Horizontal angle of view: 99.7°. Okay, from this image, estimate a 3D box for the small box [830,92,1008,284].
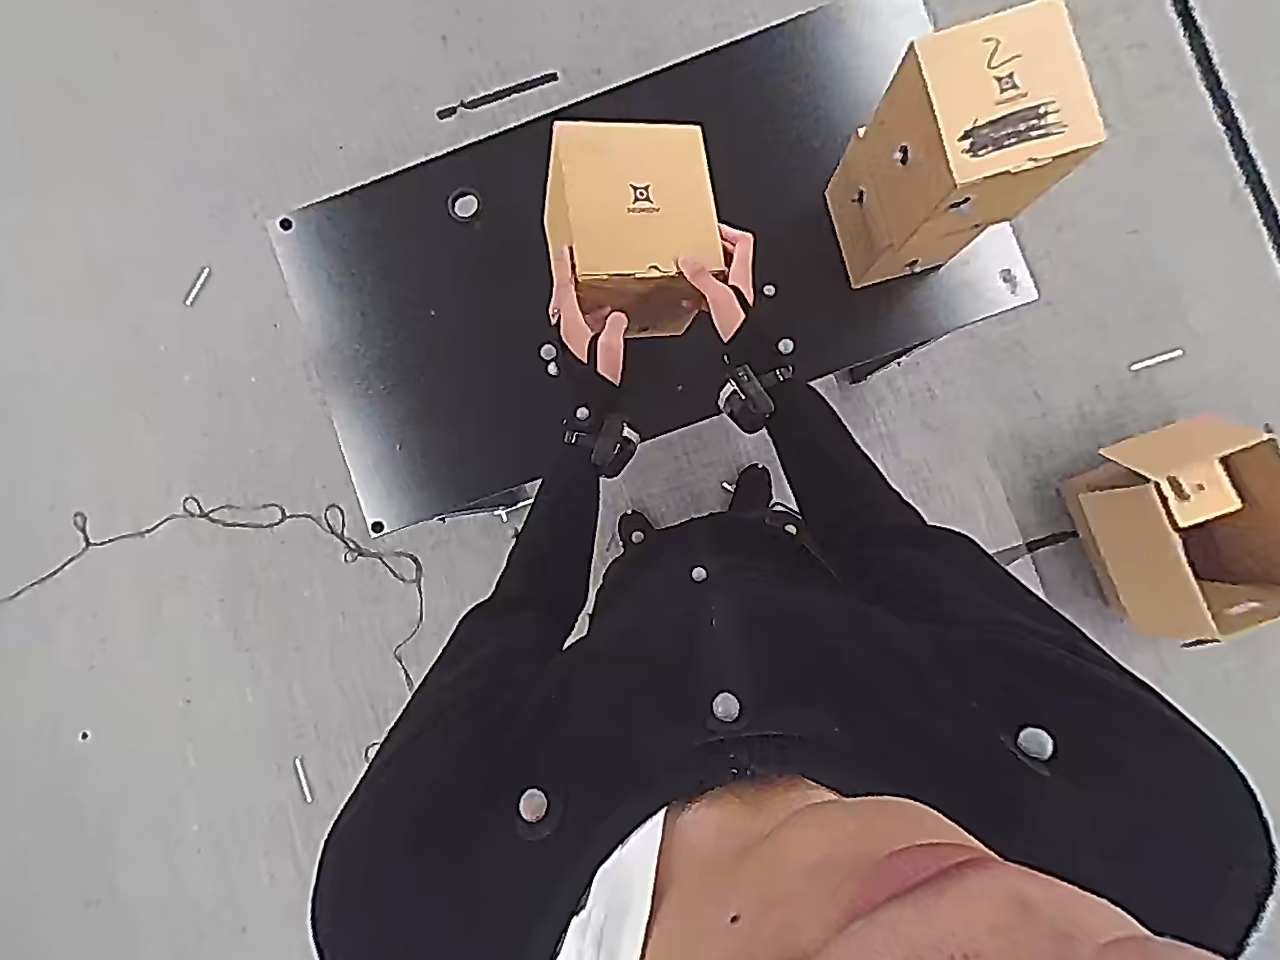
[{"bbox_3d":[0.408,-0.429,0.823,0.168,0.176,0.179,-15,88,4],"label":"small box"}]

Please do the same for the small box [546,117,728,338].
[{"bbox_3d":[-0.016,-0.287,0.642,0.168,0.176,0.179,-8,85,-14],"label":"small box"}]
